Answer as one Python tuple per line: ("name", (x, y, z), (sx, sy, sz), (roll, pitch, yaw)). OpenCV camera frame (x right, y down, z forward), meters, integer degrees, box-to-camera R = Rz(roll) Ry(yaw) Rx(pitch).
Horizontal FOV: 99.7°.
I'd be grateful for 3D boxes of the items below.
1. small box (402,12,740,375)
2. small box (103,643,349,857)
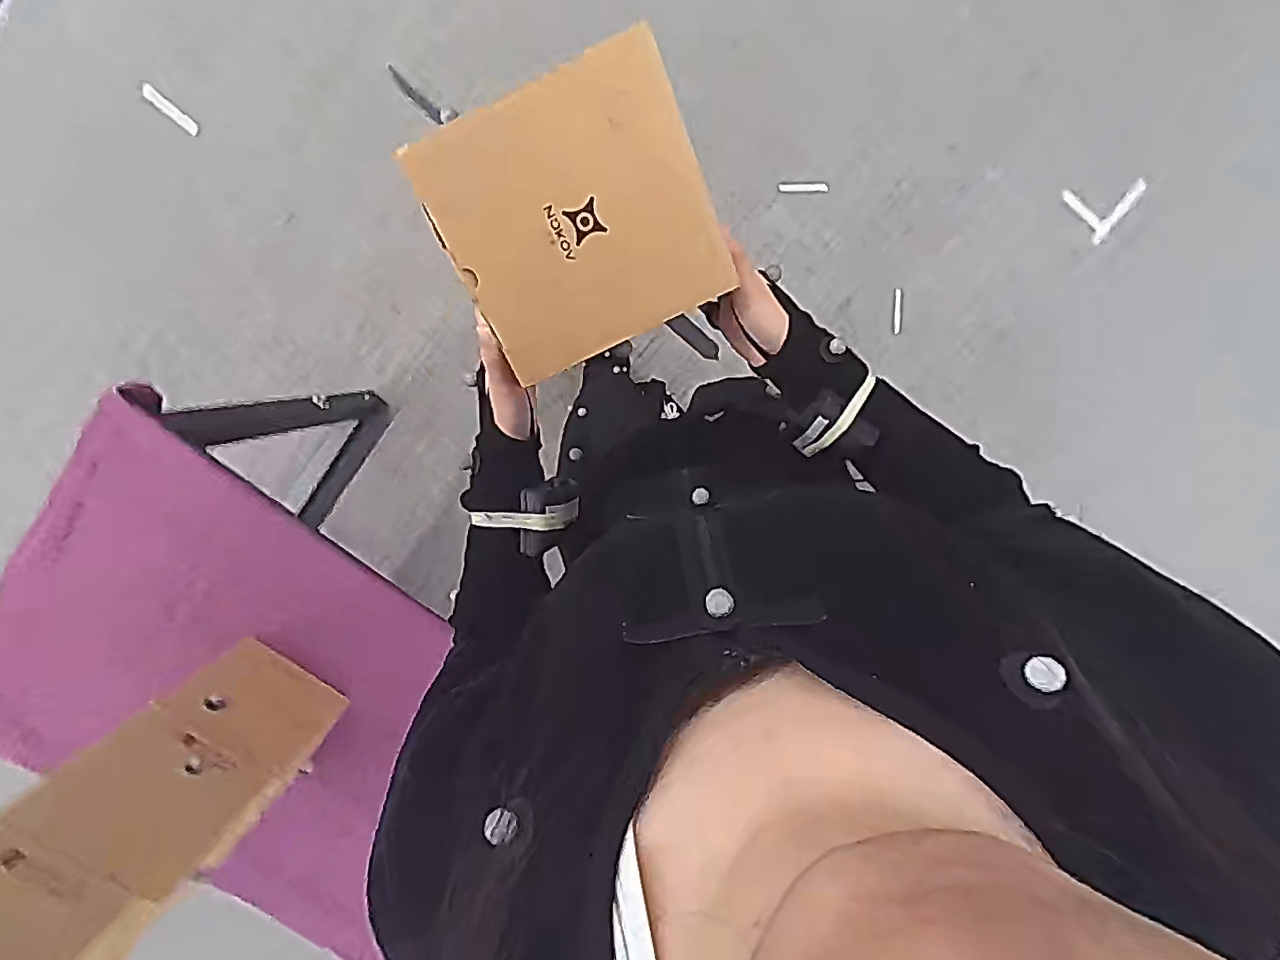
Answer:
("small box", (-0.045, -0.209, 0.426), (0.179, 0.176, 0.168), (-23, 114, 6))
("small box", (-0.555, 0.356, 0.750), (0.179, 0.176, 0.168), (37, 101, -8))
